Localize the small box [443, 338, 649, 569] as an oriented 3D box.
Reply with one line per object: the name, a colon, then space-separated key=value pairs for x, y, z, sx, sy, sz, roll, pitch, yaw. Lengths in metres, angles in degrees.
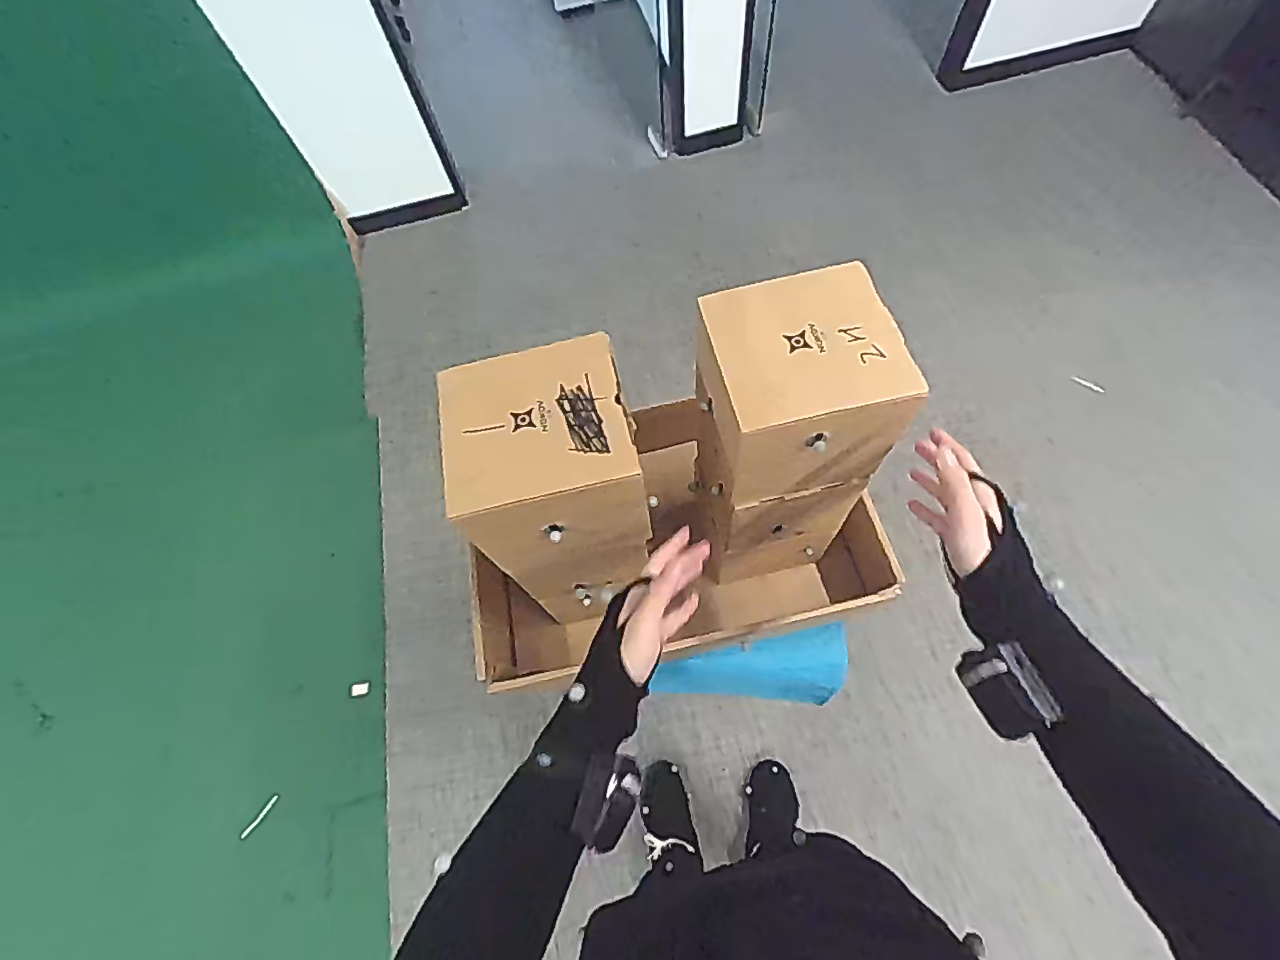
small box: x=-0.090 y=-0.019 z=0.578 sx=0.179 sy=0.176 sz=0.168 roll=-13 pitch=63 yaw=0

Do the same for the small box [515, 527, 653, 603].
small box: x=-0.080 y=0.048 z=0.727 sx=0.168 sy=0.176 sz=0.179 roll=-12 pitch=64 yaw=-1

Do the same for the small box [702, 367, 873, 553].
small box: x=0.181 y=-0.021 z=0.731 sx=0.168 sy=0.176 sz=0.179 roll=-12 pitch=64 yaw=0
